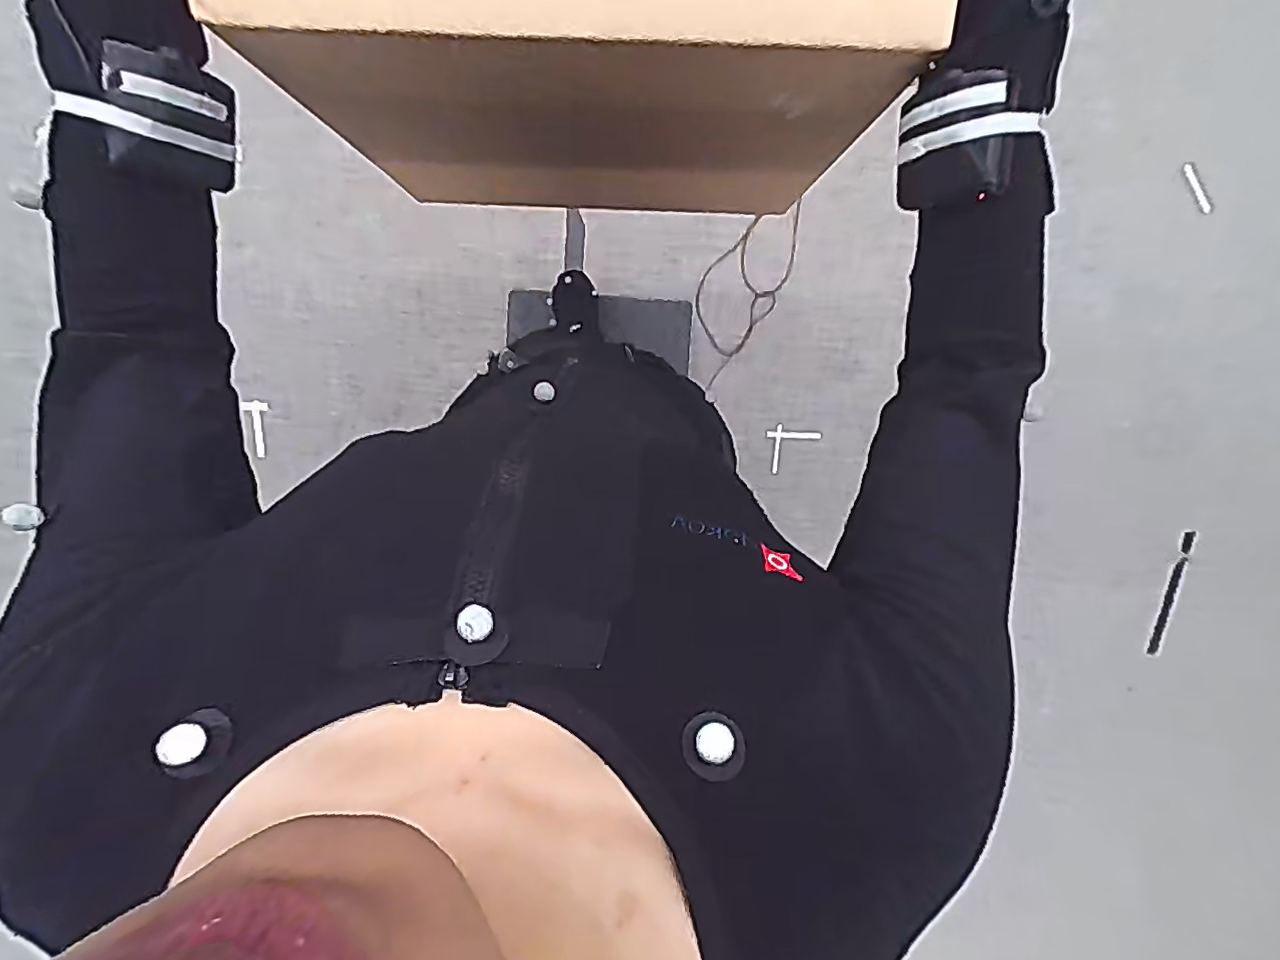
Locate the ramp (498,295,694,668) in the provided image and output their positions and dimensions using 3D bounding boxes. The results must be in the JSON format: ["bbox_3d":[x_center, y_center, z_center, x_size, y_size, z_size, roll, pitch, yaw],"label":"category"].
[{"bbox_3d":[-0.123,0.009,1.472,0.509,0.206,0.991,2,102,1],"label":"ramp"}]

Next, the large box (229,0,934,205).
[{"bbox_3d":[-0.035,-0.428,0.426,0.408,0.320,0.320,1,101,-2],"label":"large box"}]
